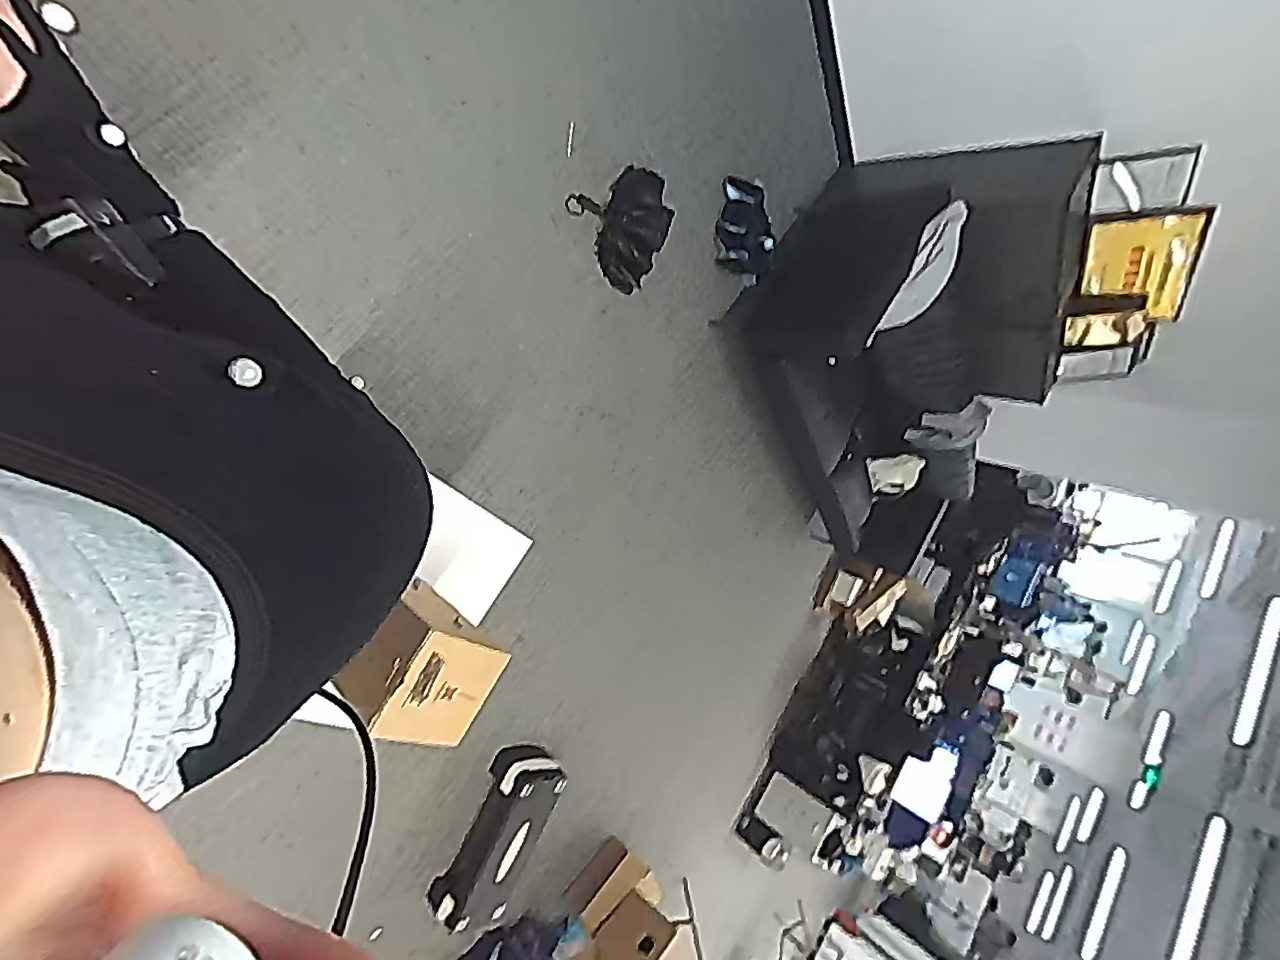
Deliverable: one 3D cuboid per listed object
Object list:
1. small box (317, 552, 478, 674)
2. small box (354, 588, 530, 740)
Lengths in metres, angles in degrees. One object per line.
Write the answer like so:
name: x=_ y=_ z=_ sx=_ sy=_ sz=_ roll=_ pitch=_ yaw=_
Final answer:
small box: x=-0.443 y=0.251 z=0.990 sx=0.179 sy=0.176 sz=0.168 roll=41 pitch=74 yaw=-49
small box: x=-0.325 y=0.296 z=0.884 sx=0.179 sy=0.176 sz=0.168 roll=42 pitch=74 yaw=-49
